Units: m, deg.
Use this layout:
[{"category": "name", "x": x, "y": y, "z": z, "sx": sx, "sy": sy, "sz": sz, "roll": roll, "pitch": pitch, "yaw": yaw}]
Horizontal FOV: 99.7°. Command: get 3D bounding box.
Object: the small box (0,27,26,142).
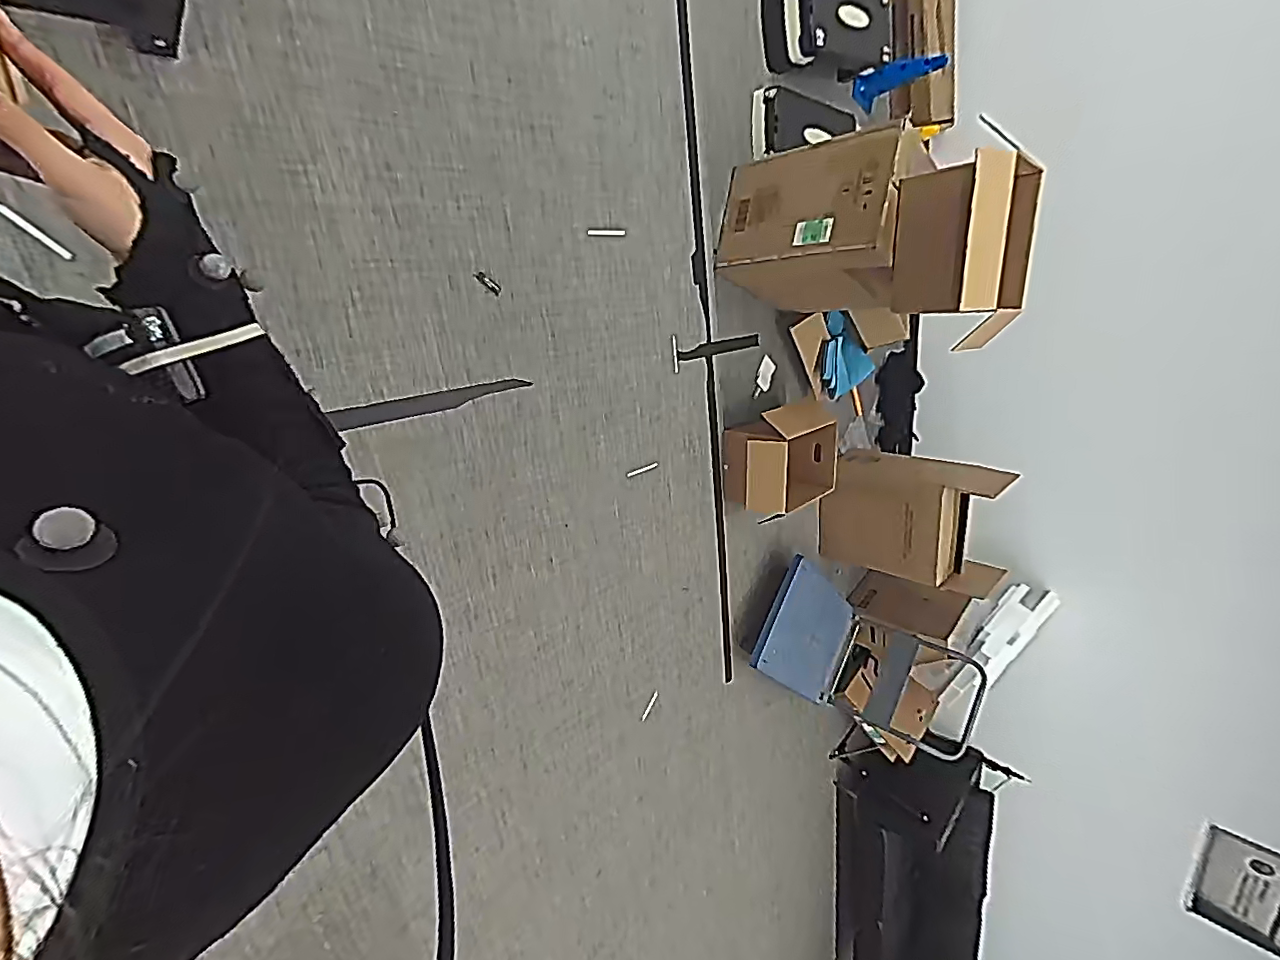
[{"category": "small box", "x": -0.433, "y": -0.278, "z": 0.244, "sx": 0.179, "sy": 0.176, "sz": 0.168, "roll": -15, "pitch": 133, "yaw": -40}]
